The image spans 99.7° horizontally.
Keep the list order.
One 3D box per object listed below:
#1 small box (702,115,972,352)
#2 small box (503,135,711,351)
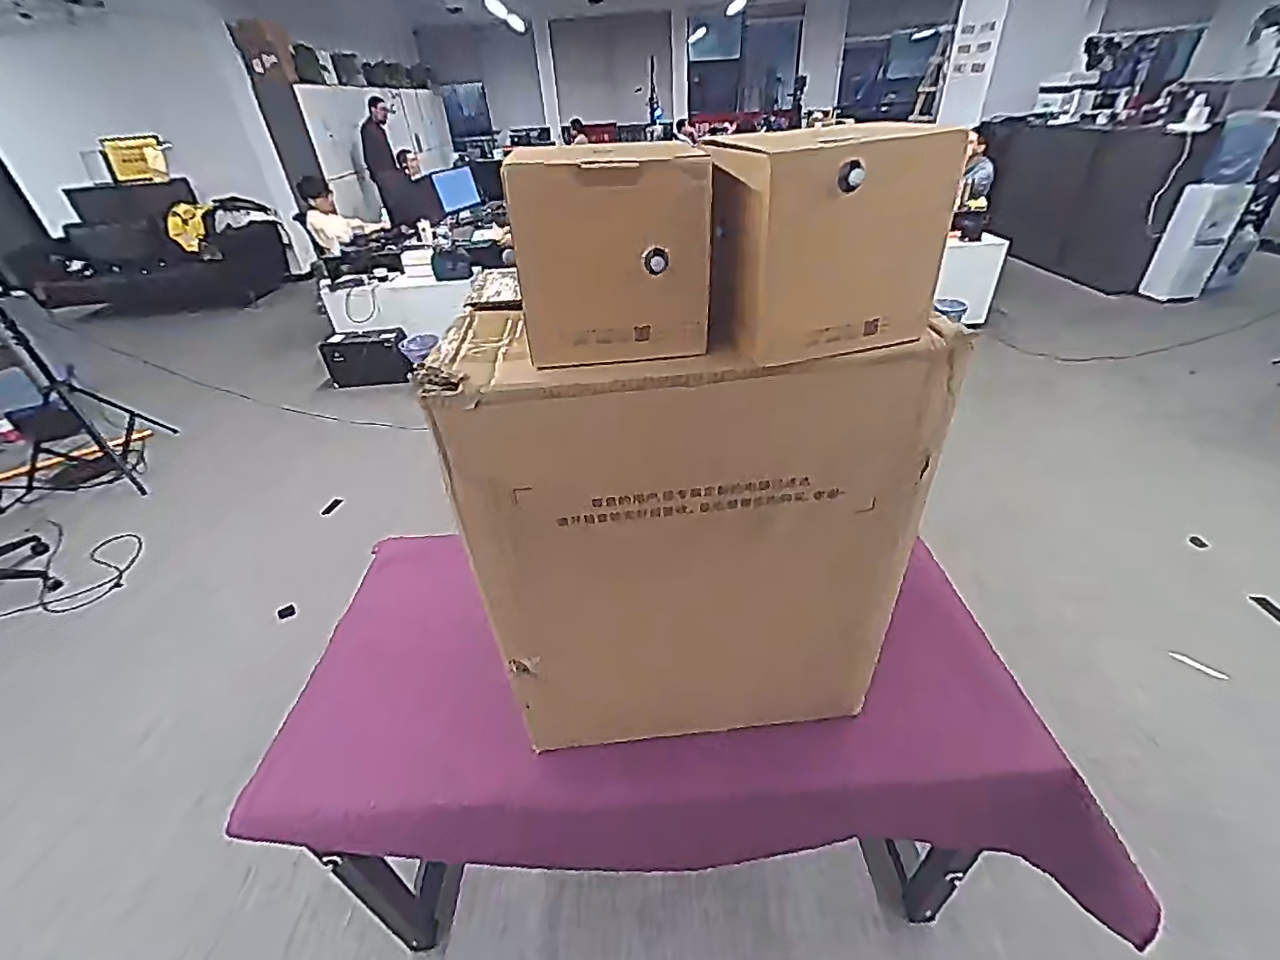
[{"bbox_3d":[0.160,-0.234,0.509,0.168,0.176,0.179,-12,35,-8],"label":"small box"},{"bbox_3d":[-0.030,-0.231,0.528,0.168,0.176,0.179,-5,34,-5],"label":"small box"}]
